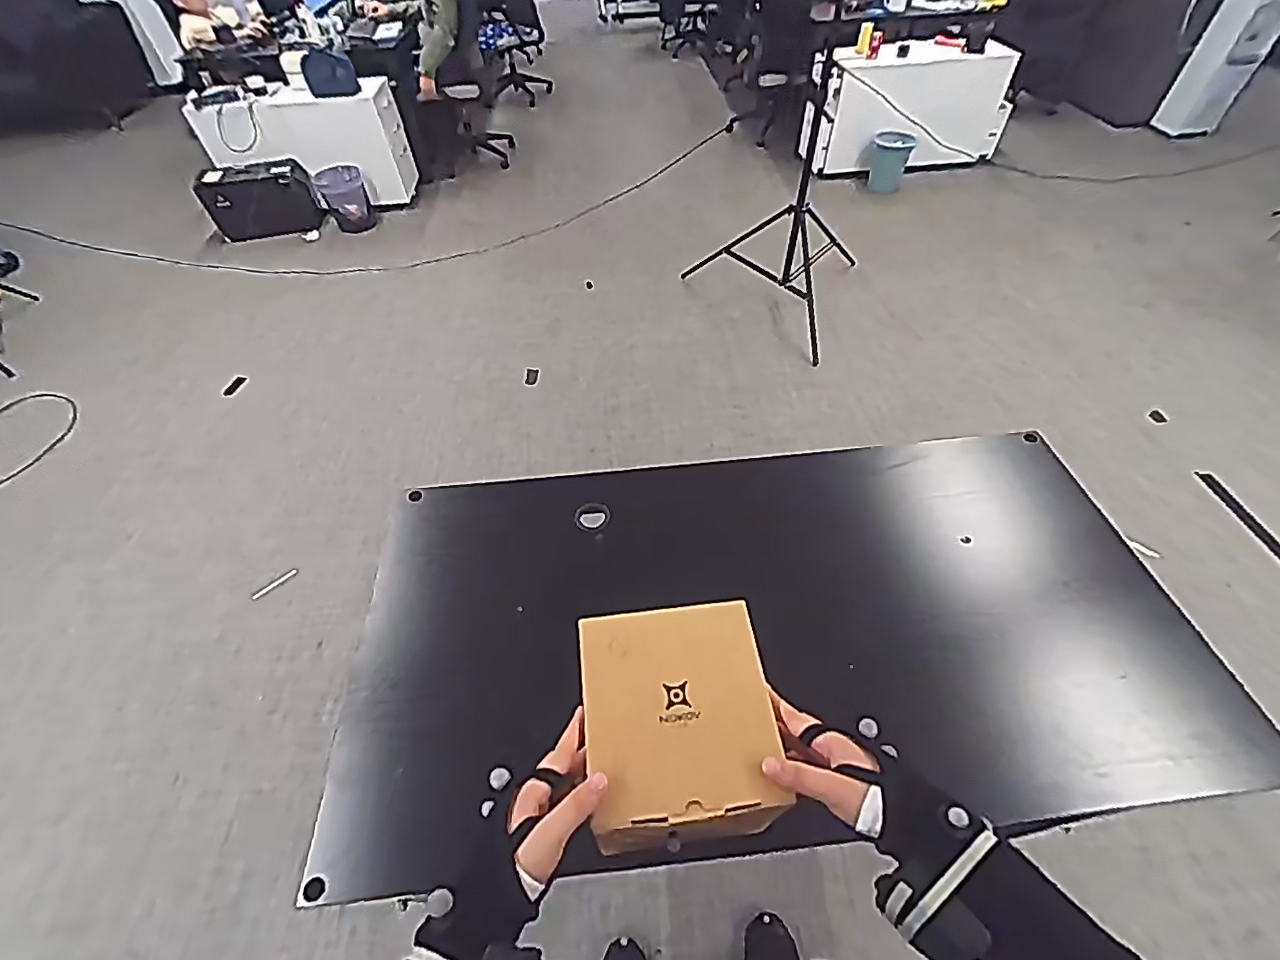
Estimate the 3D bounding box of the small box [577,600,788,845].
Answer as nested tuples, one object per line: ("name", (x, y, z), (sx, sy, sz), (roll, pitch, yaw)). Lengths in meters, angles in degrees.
("small box", (0.028, 0.242, 0.538), (0.168, 0.176, 0.179), (-6, 52, -4))
